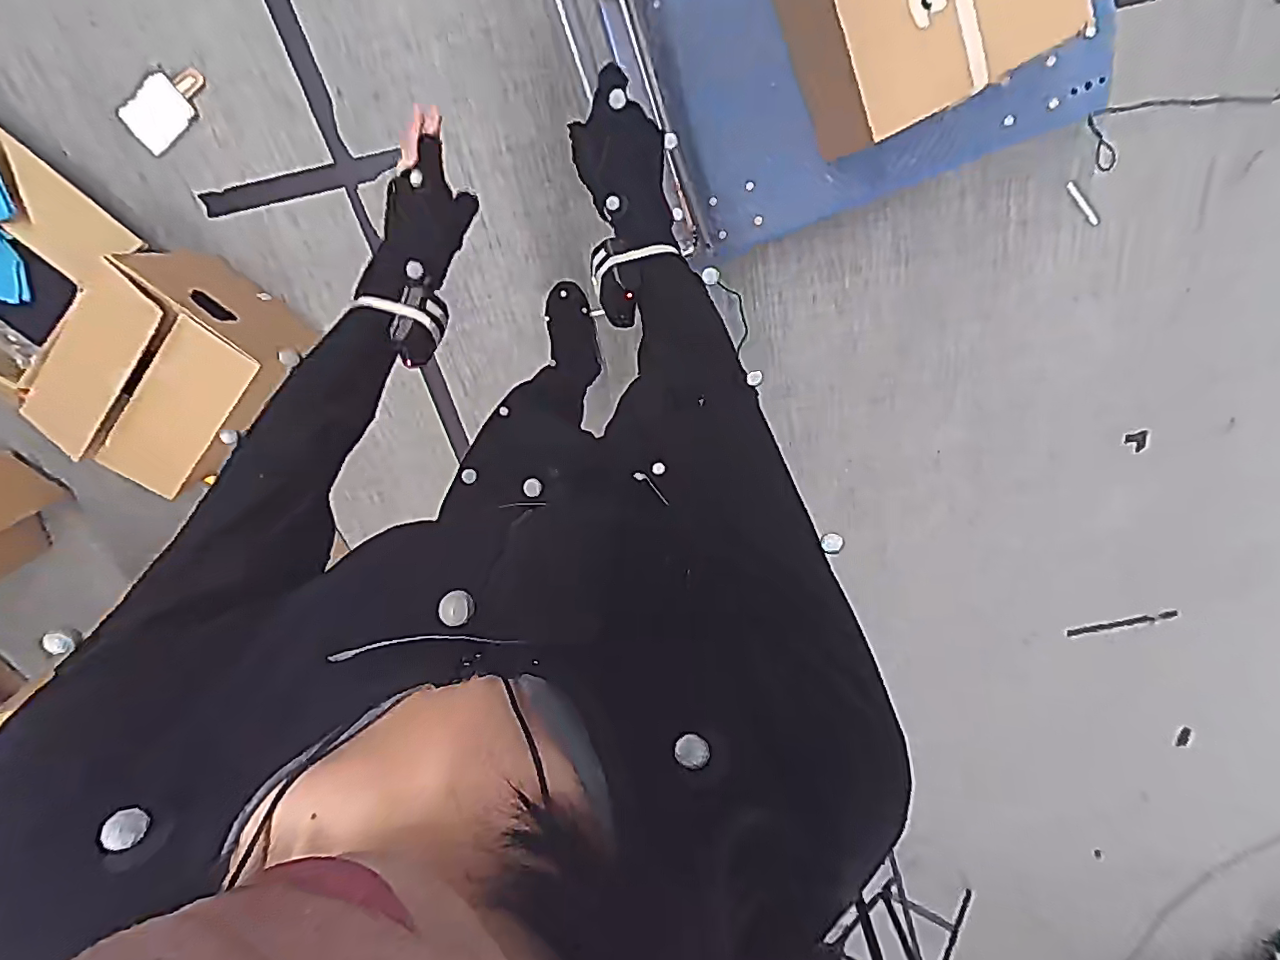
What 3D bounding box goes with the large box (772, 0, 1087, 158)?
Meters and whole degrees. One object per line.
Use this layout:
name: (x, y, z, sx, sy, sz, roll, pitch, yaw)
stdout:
large box: (0.414, -0.809, 0.864, 0.320, 0.320, 0.408, -24, 112, 15)
